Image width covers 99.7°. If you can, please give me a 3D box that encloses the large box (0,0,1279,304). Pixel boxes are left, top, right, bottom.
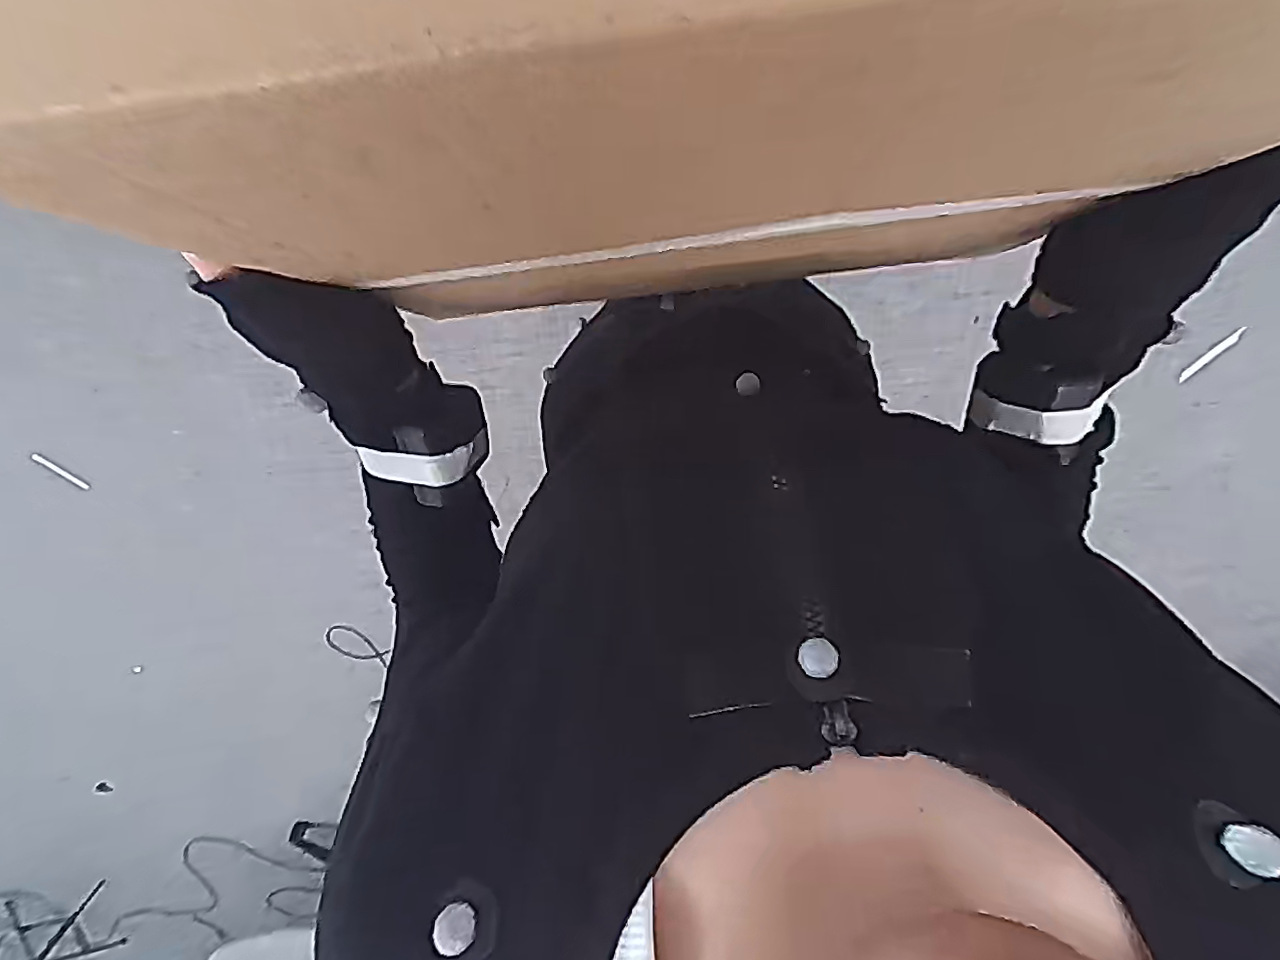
[{"bbox_3d":[0.028,-0.273,0.226,0.408,0.320,0.320,-5,101,3],"label":"large box"}]
